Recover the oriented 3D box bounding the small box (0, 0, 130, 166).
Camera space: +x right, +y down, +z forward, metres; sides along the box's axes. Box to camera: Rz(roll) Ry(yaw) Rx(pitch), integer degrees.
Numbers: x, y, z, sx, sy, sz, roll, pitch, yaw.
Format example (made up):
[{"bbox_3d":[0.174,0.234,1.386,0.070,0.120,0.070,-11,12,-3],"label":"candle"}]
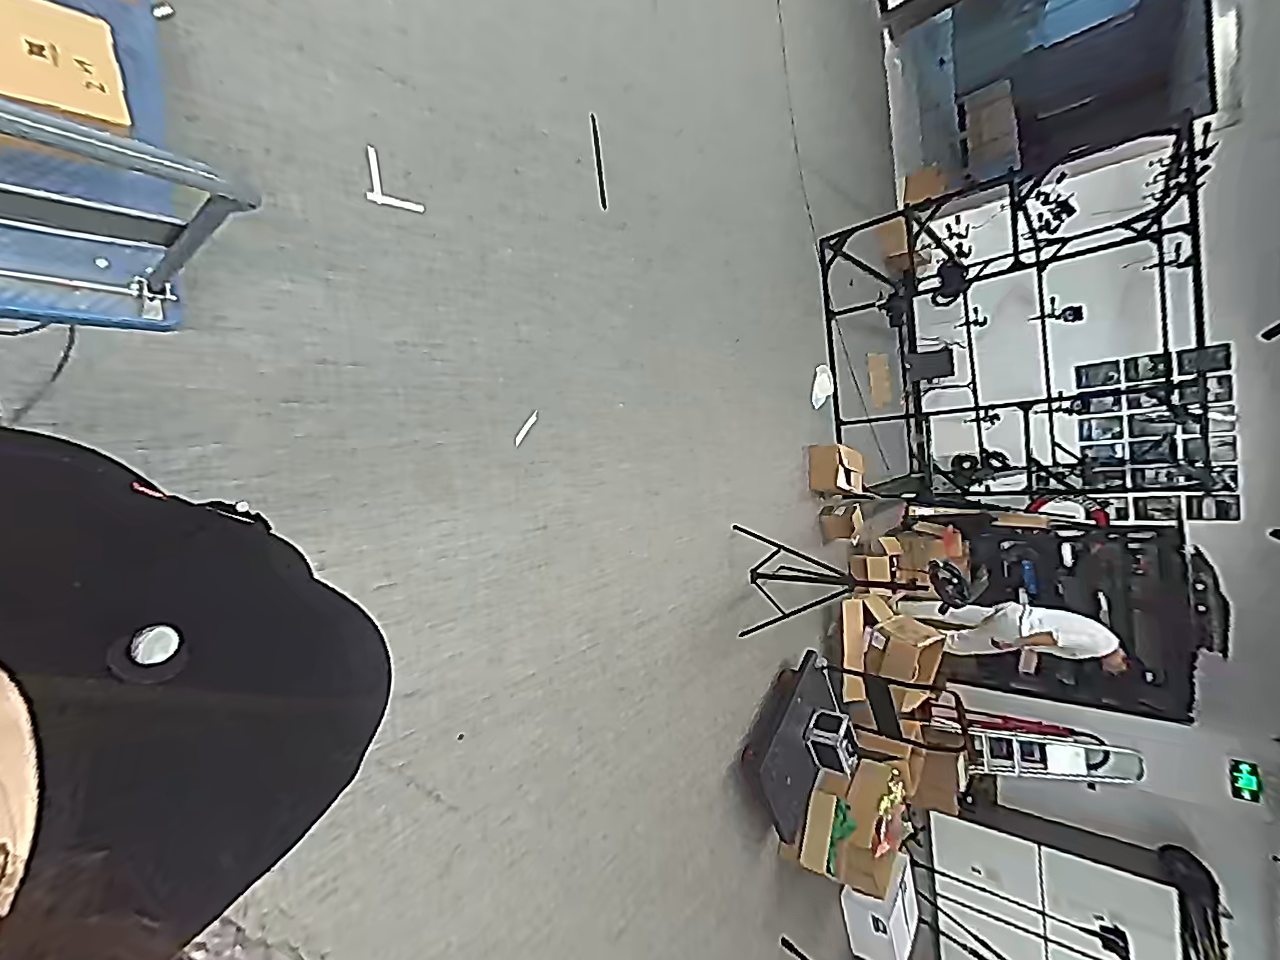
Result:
[{"bbox_3d":[-0.991,-0.656,0.898,0.179,0.176,0.168,-15,98,-49],"label":"small box"}]
